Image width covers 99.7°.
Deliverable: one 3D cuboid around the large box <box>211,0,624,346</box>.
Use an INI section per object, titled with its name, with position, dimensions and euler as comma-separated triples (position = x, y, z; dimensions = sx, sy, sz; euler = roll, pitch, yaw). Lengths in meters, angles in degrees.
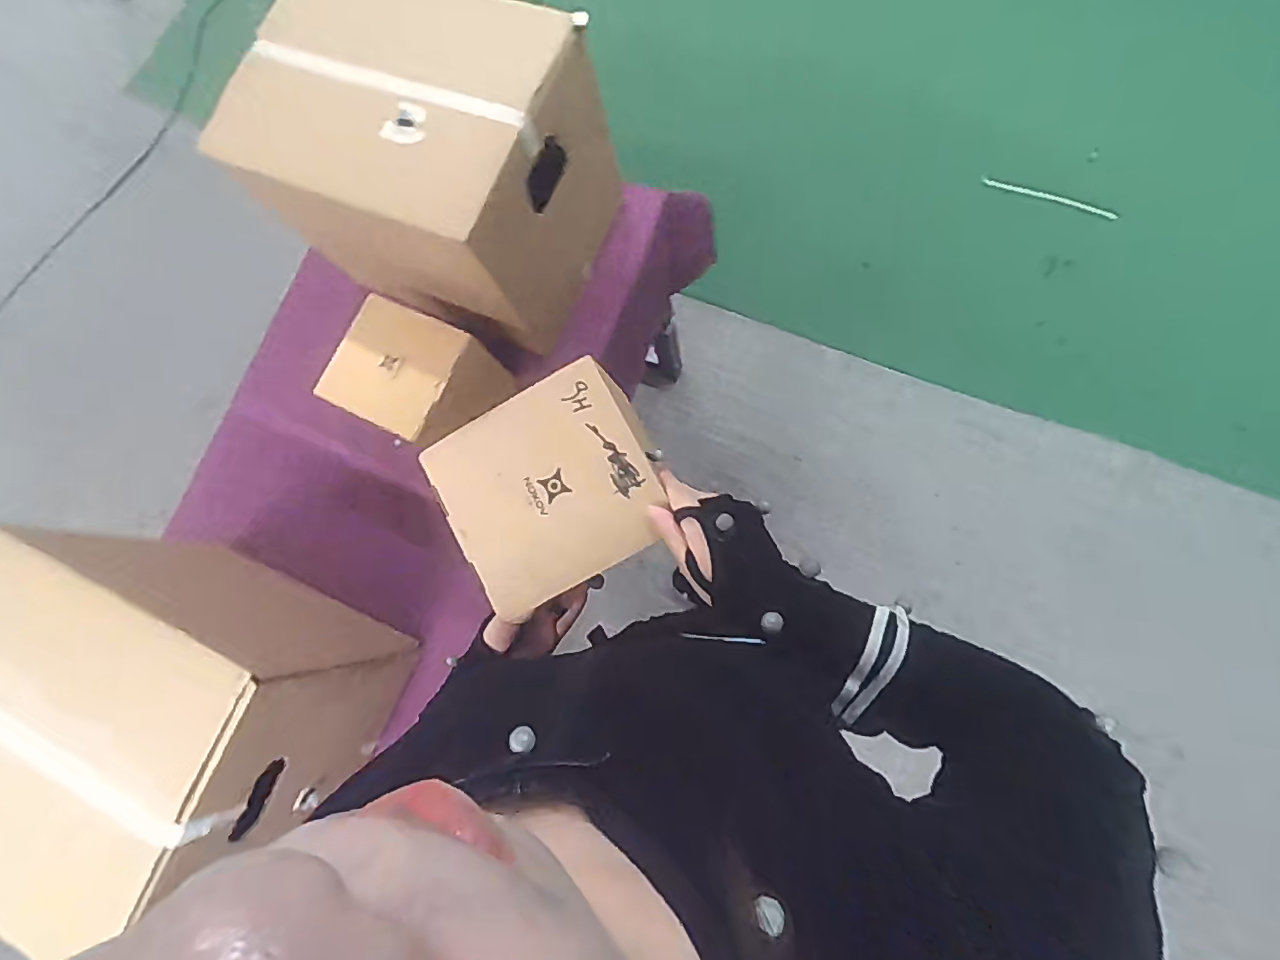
[large box]
position = -0.280, -0.454, 0.801
dimensions = 0.408, 0.320, 0.320
euler = 23, 83, 10
